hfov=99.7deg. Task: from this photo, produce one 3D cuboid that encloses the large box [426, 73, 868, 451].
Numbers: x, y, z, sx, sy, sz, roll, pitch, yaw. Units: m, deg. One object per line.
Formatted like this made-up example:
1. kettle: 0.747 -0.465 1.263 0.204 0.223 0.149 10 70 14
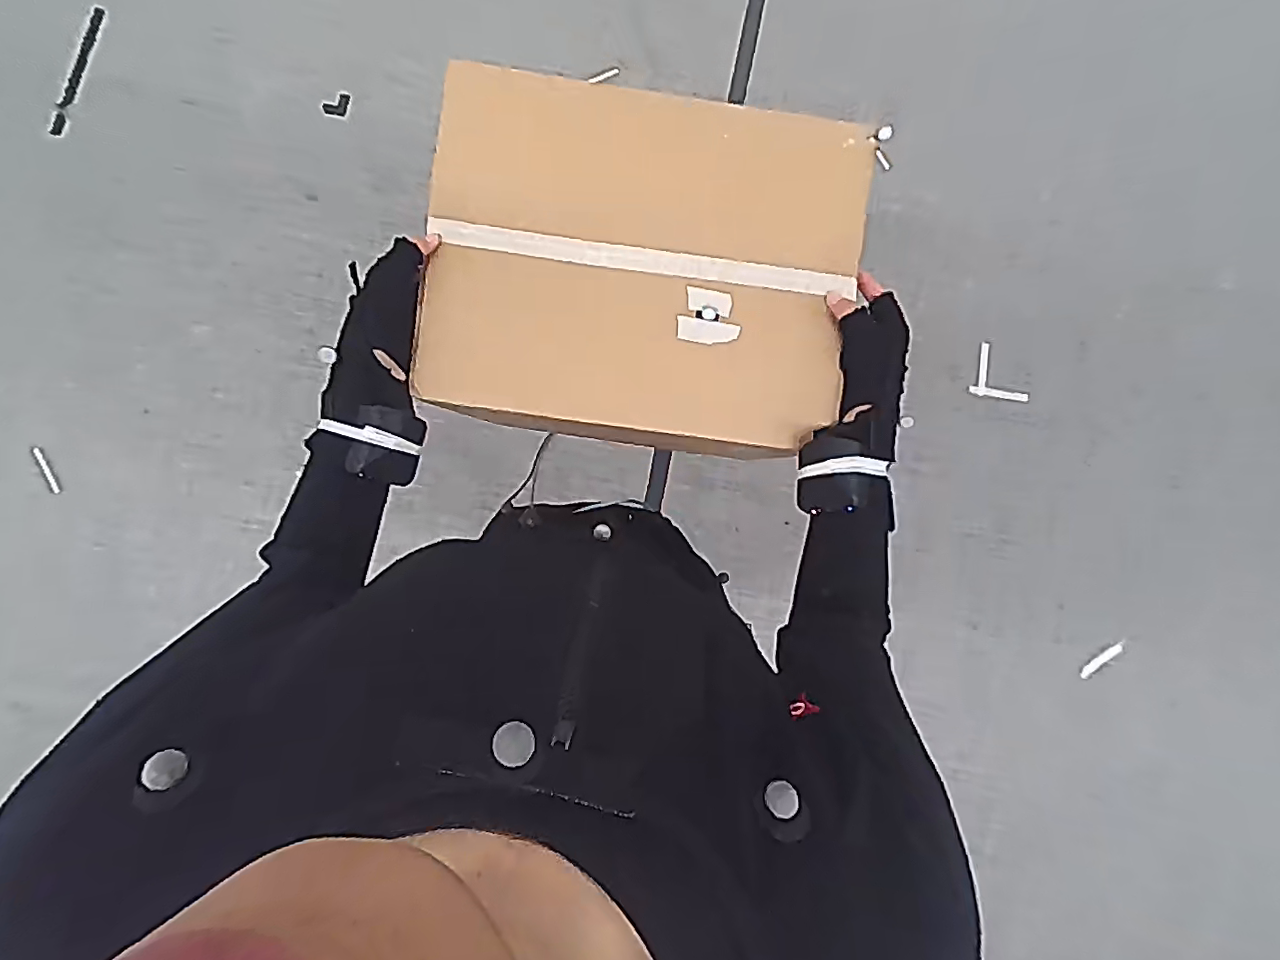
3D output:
1. large box: 0.001 -0.215 0.669 0.408 0.320 0.320 8 92 -2
